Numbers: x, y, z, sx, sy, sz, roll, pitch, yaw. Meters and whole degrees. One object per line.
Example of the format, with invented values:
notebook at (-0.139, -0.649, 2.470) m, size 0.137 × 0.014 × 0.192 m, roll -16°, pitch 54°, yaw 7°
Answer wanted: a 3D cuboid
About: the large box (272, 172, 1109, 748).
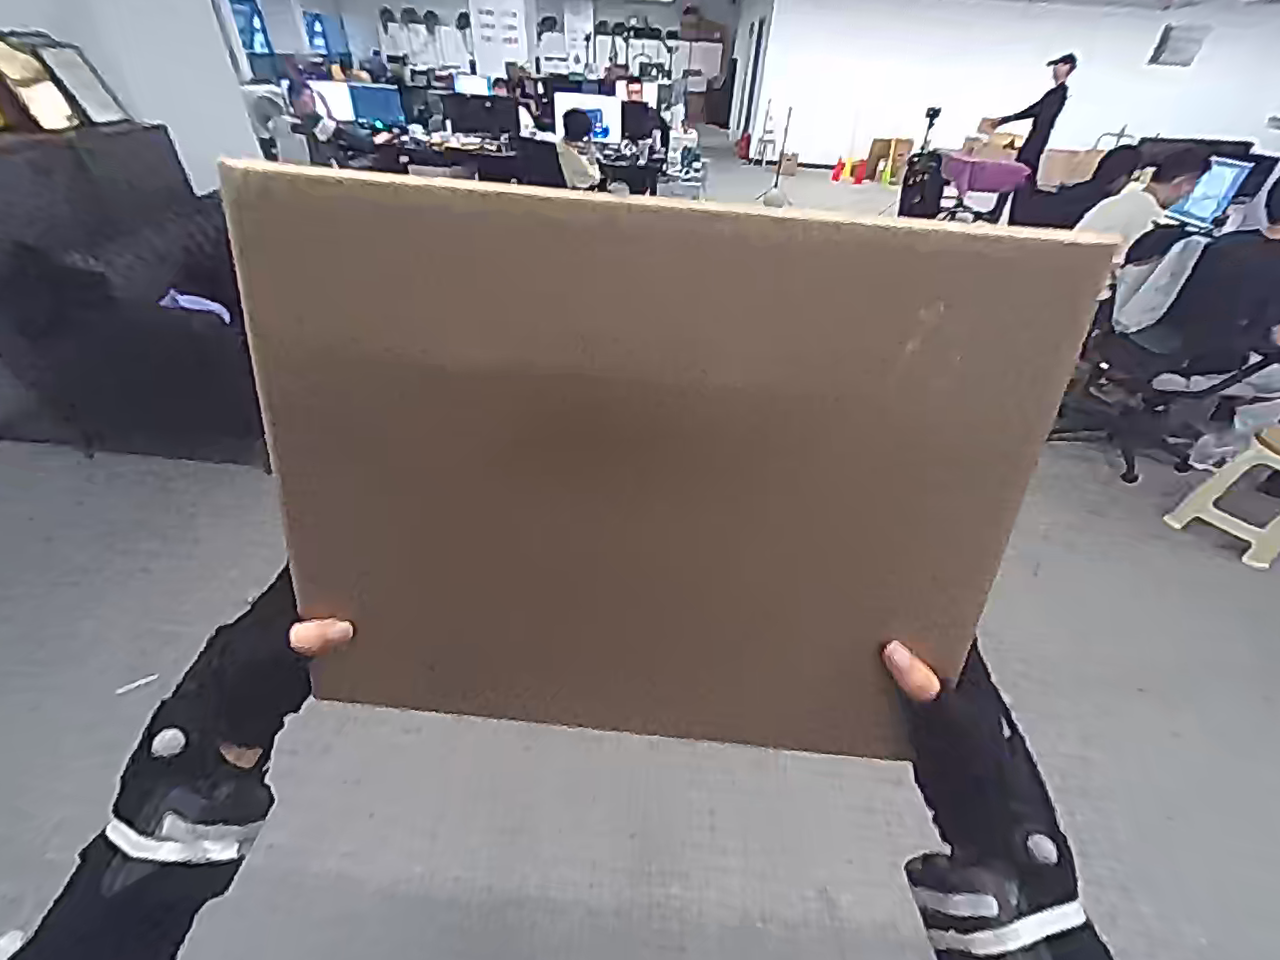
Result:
large box at (0.012, -0.030, 0.440) m, size 0.408 × 0.320 × 0.320 m, roll 7°, pitch 22°, yaw 0°
